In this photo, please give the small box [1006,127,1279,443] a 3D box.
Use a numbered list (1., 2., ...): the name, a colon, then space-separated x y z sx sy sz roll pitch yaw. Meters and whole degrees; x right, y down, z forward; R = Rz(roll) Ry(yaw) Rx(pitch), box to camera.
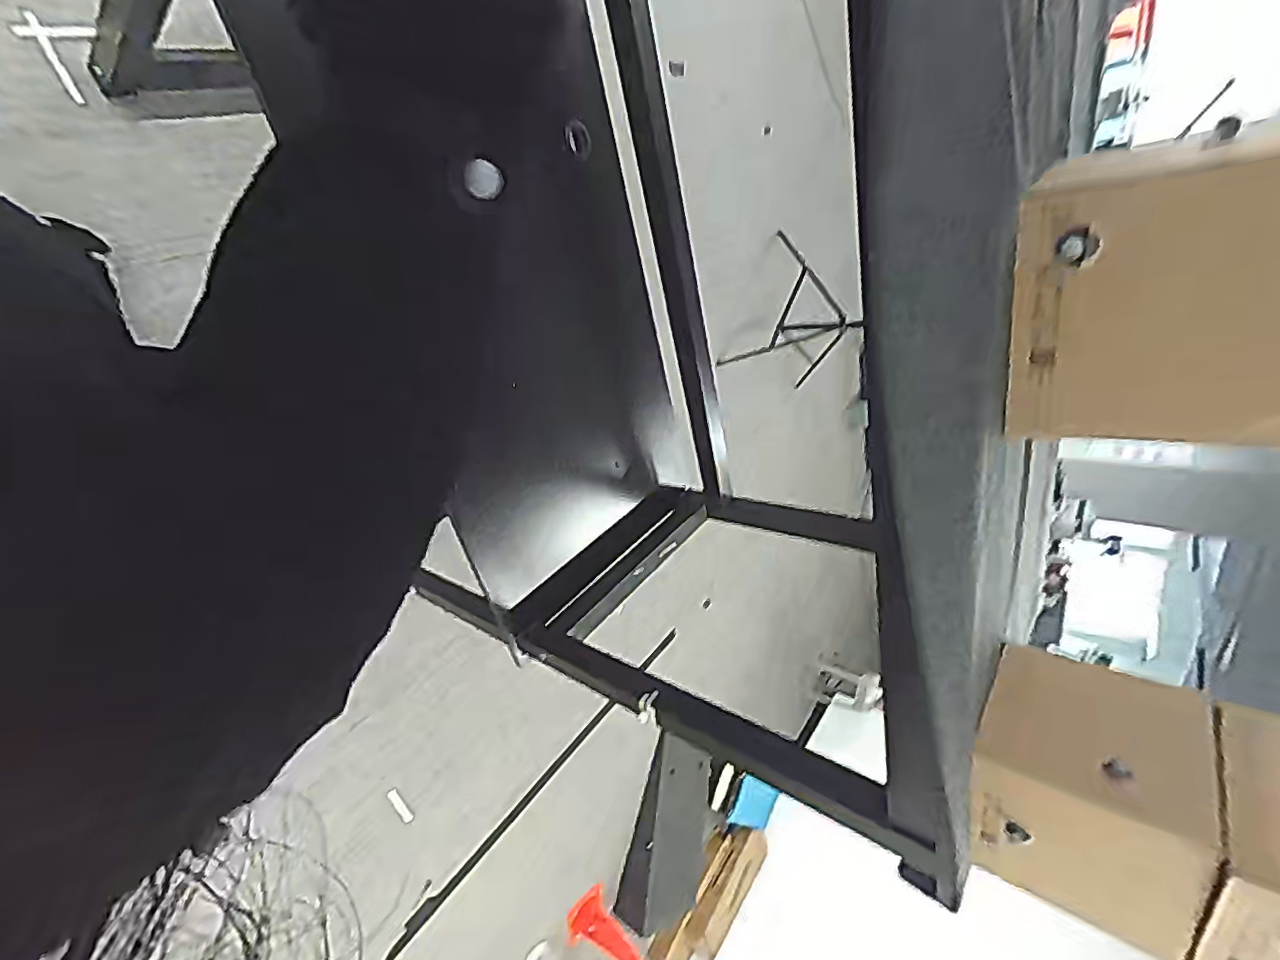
1. small box: 0.369 -0.133 0.376 0.179 0.176 0.168 -40 126 -40
